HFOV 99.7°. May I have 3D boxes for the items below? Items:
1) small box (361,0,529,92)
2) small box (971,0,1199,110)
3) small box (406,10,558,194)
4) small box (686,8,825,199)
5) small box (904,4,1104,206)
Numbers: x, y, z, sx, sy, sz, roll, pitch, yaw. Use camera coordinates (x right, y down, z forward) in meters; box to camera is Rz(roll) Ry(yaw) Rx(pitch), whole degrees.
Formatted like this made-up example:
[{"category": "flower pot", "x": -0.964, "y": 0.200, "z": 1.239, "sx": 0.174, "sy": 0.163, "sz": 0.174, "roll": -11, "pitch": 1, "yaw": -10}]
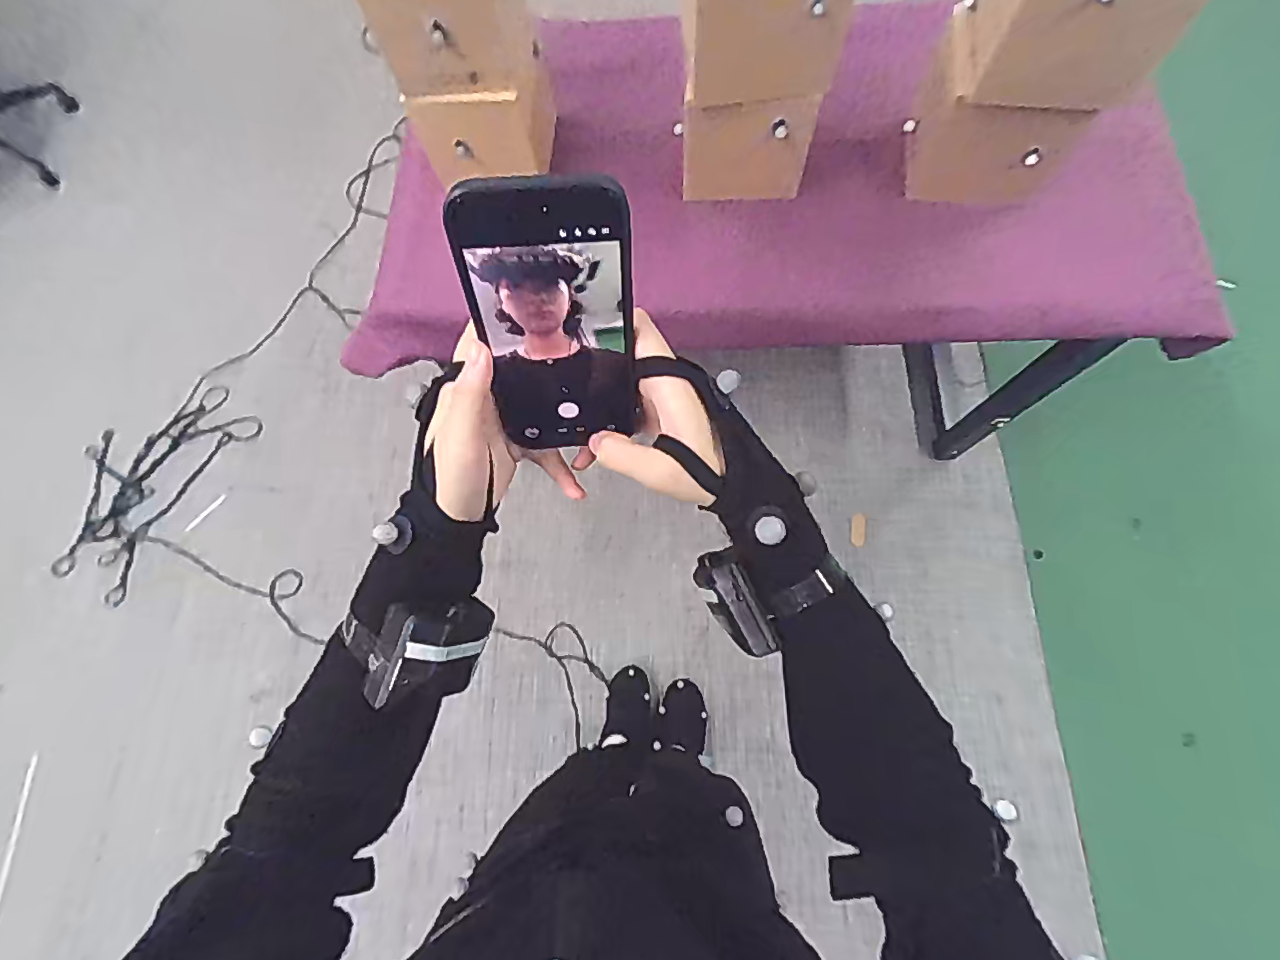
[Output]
[{"category": "small box", "x": -0.241, "y": -0.624, "z": 0.677, "sx": 0.168, "sy": 0.176, "sz": 0.179, "roll": -3, "pitch": 74, "yaw": 3}, {"category": "small box", "x": 0.492, "y": -0.547, "z": 0.597, "sx": 0.179, "sy": 0.176, "sz": 0.168, "roll": 7, "pitch": 73, "yaw": 6}, {"category": "small box", "x": -0.229, "y": -0.568, "z": 0.831, "sx": 0.168, "sy": 0.176, "sz": 0.179, "roll": 2, "pitch": 73, "yaw": 5}, {"category": "small box", "x": 0.159, "y": -0.537, "z": 0.790, "sx": 0.179, "sy": 0.176, "sz": 0.168, "roll": 1, "pitch": 73, "yaw": 5}, {"category": "small box", "x": 0.496, "y": -0.514, "z": 0.758, "sx": 0.179, "sy": 0.176, "sz": 0.168, "roll": 8, "pitch": 73, "yaw": 7}]
